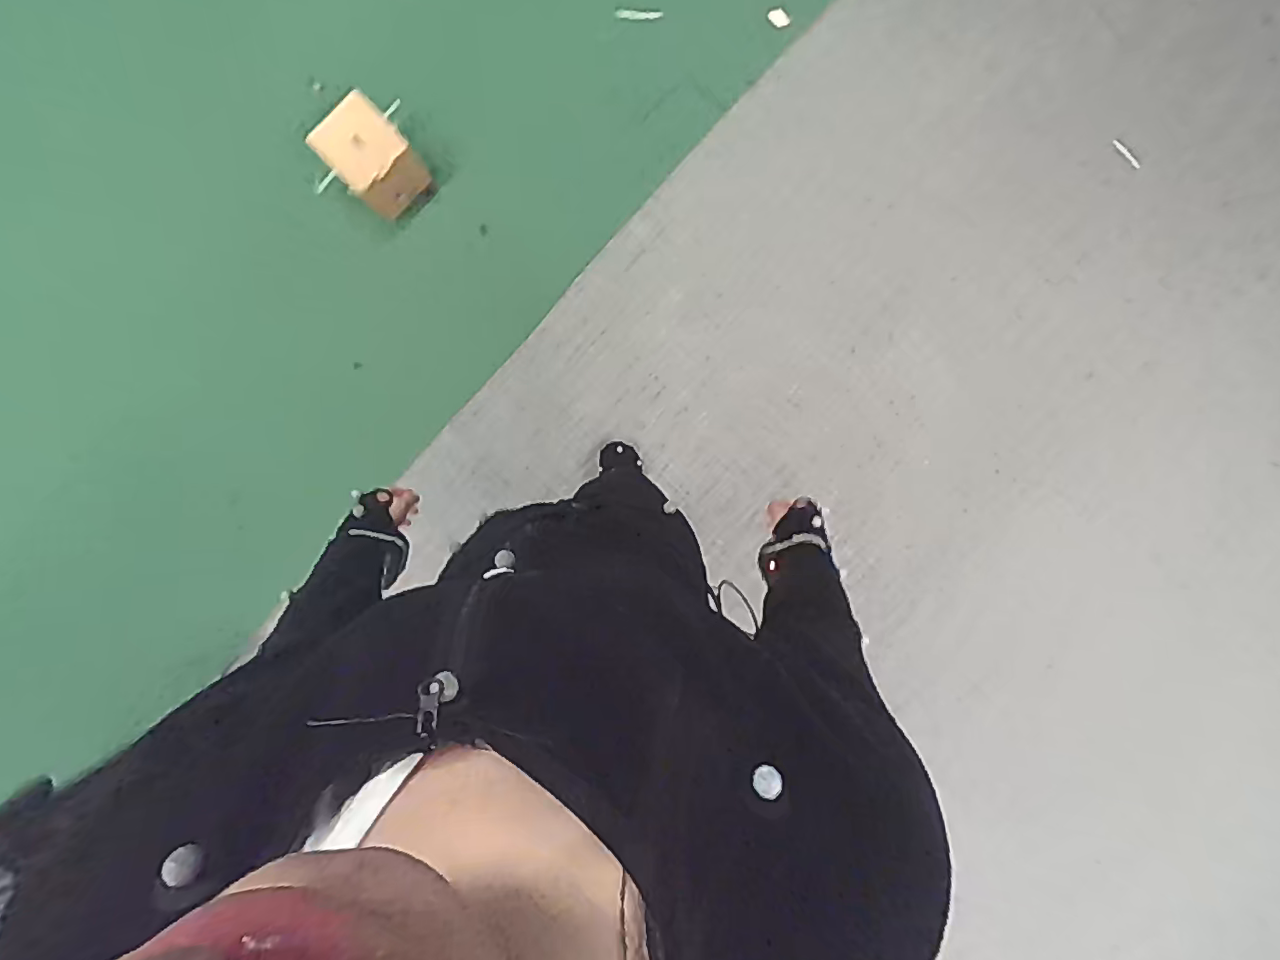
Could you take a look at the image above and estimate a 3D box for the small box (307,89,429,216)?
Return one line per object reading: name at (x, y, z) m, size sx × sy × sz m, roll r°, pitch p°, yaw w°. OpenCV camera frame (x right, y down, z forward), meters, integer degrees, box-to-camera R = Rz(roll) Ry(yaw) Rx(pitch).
small box at (-0.664, -0.801, 1.344) m, size 0.168 × 0.176 × 0.179 m, roll -44°, pitch 95°, yaw 1°
